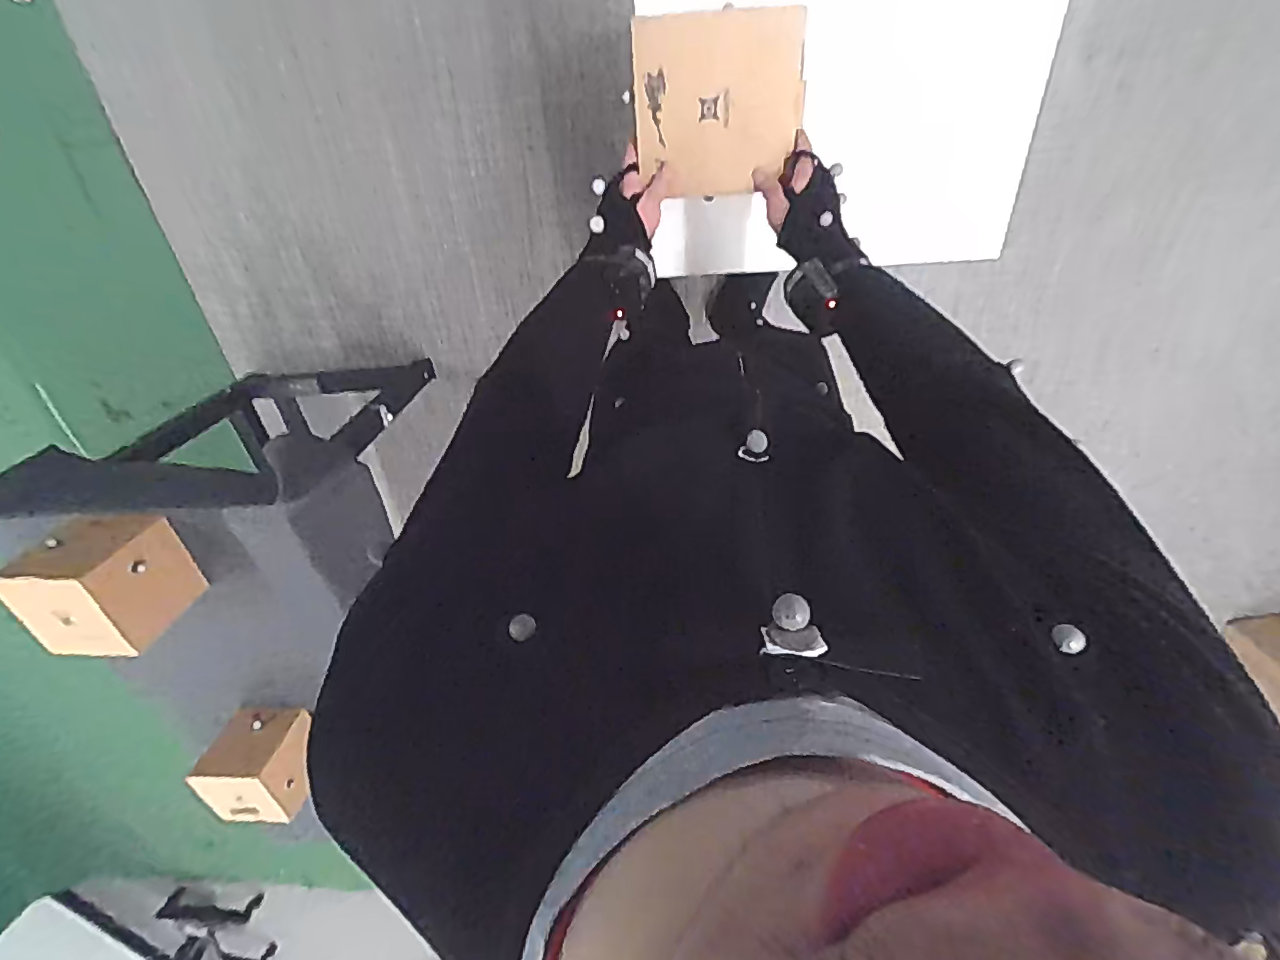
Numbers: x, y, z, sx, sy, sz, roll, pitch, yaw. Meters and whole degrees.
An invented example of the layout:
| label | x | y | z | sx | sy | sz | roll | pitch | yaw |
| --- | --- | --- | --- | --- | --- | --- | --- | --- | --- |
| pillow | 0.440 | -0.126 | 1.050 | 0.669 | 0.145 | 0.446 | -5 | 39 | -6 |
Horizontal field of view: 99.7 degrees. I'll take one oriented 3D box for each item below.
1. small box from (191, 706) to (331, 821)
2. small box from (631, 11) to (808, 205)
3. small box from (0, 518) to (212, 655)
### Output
| label | x | y | z | sx | sy | sz | roll | pitch | yaw |
| --- | --- | --- | --- | --- | --- | --- | --- | --- | --- |
| small box | -0.848 | 0.643 | 1.232 | 0.168 | 0.176 | 0.179 | -2 | 121 | 5 |
| small box | 0.082 | -0.427 | 0.634 | 0.179 | 0.176 | 0.168 | -2 | 122 | 3 |
| small box | -0.912 | 0.180 | 0.940 | 0.168 | 0.176 | 0.179 | 0 | 124 | 6 |
